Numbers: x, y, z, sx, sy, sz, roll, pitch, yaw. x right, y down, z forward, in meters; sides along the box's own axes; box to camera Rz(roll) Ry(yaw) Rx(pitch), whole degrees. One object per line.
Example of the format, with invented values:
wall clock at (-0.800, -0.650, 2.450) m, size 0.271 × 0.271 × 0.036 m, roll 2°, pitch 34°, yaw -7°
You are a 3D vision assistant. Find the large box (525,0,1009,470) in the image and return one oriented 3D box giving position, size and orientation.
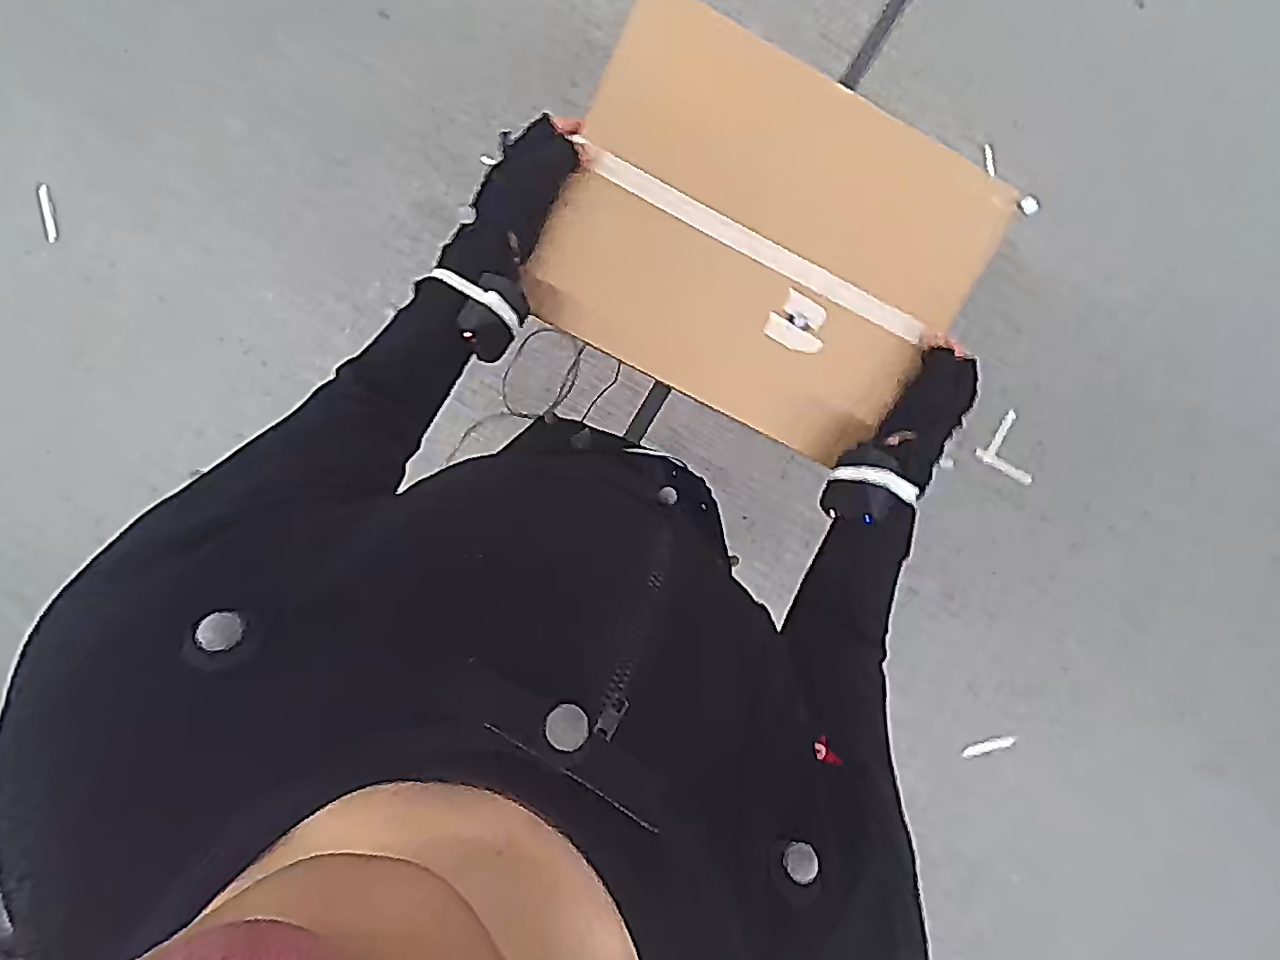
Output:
large box at (0.121, -0.259, 0.688) m, size 0.408 × 0.320 × 0.320 m, roll 27°, pitch 102°, yaw -6°
